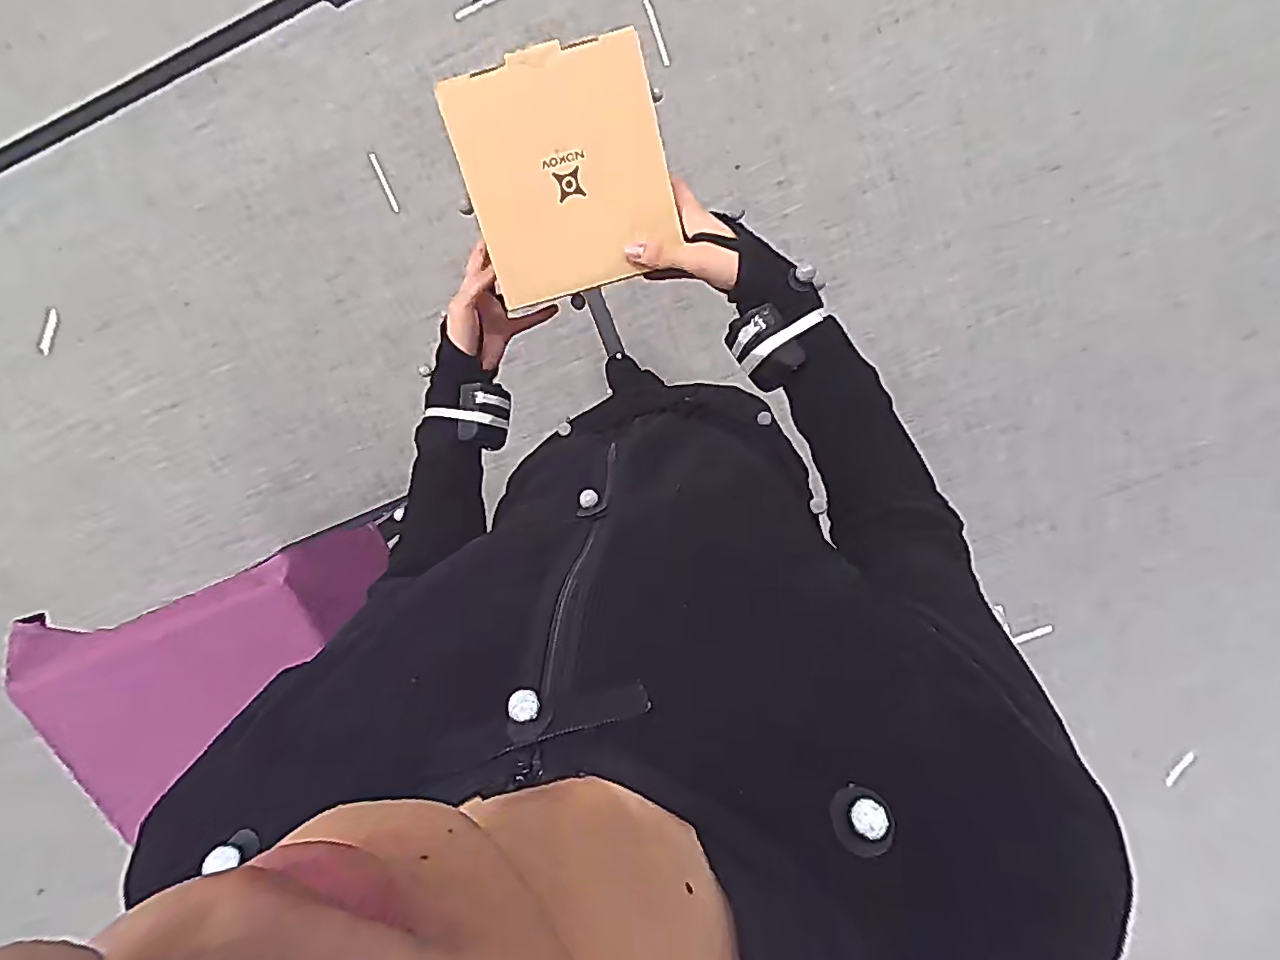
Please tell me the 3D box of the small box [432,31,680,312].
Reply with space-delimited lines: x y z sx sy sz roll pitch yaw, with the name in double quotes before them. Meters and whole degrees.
"small box" -0.068 -0.273 0.520 0.168 0.176 0.179 -16 109 1
